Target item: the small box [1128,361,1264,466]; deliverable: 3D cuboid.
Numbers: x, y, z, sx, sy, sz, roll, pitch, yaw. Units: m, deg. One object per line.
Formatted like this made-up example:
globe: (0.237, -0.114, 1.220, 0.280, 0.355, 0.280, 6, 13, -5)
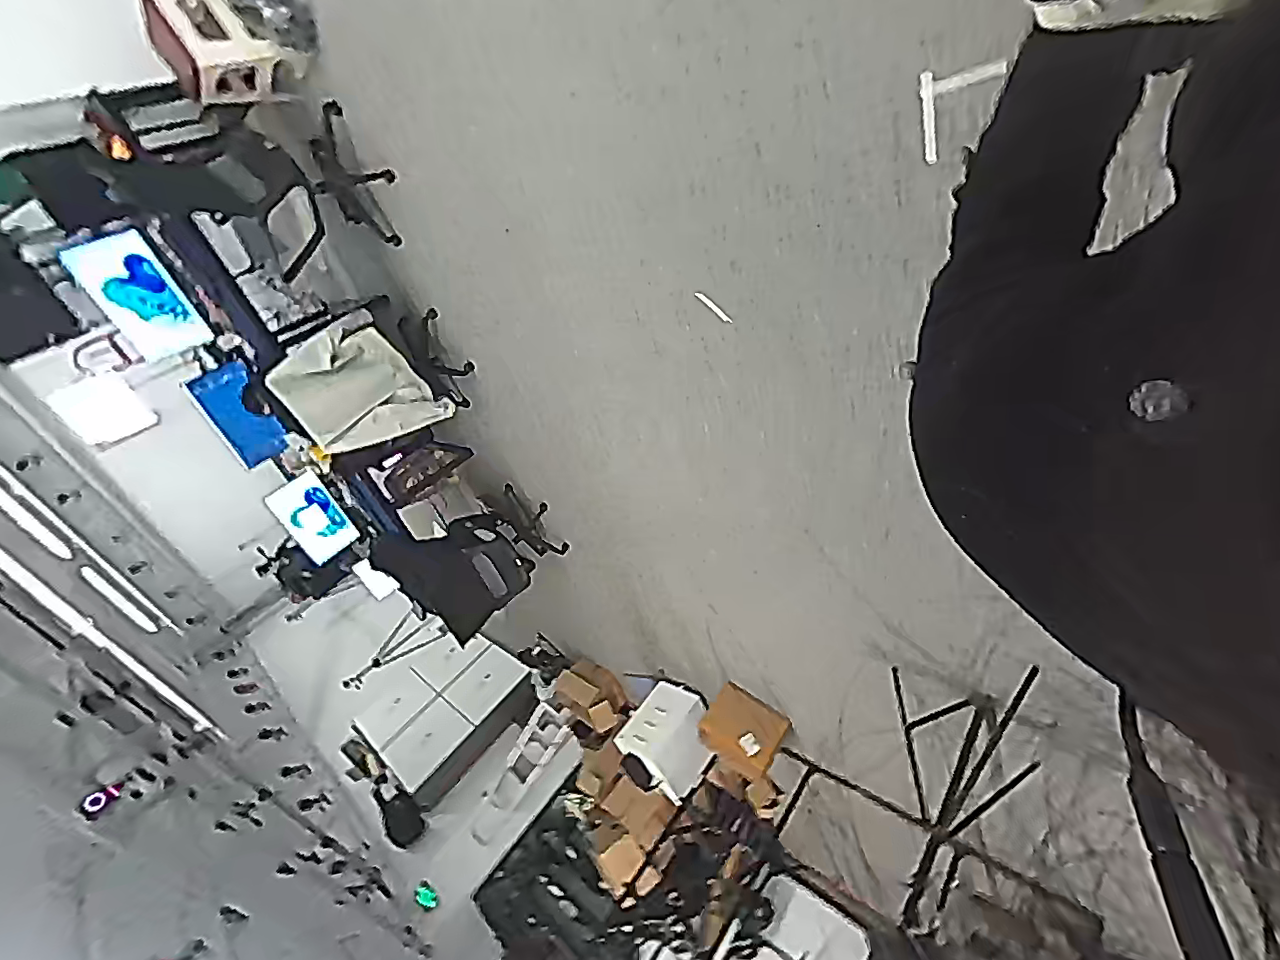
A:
small box: (1.161, -0.129, 1.134, 0.168, 0.176, 0.179, 14, 135, 39)
